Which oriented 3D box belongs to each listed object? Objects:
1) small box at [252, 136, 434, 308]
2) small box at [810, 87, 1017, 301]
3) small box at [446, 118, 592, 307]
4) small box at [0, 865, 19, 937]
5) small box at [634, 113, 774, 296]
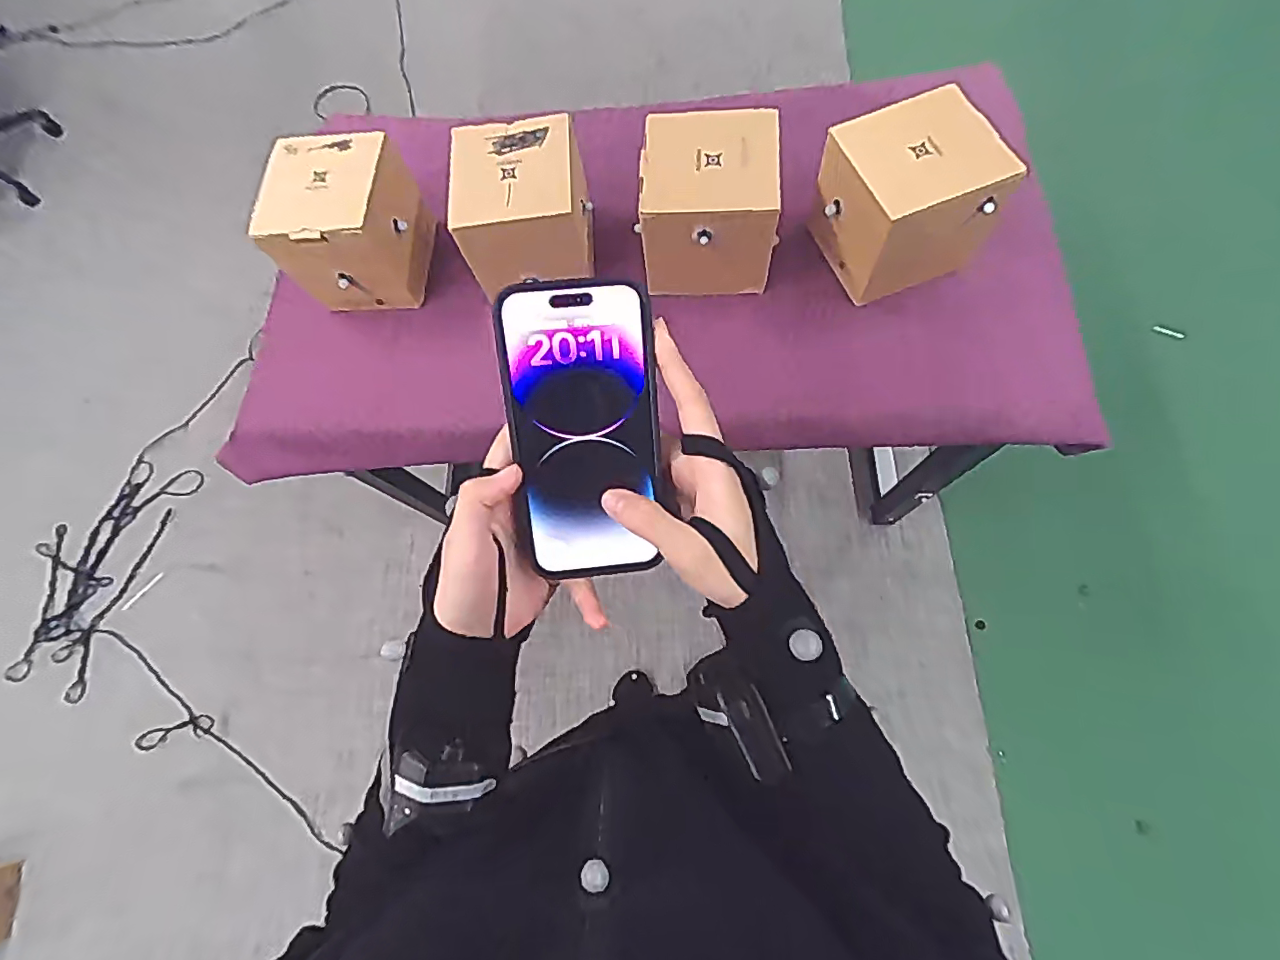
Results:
[{"bbox_3d":[-0.433,-0.378,0.820,0.168,0.176,0.179,0,72,6],"label":"small box"},{"bbox_3d":[0.349,-0.377,0.739,0.179,0.176,0.168,-21,70,-2],"label":"small box"},{"bbox_3d":[-0.166,-0.384,0.795,0.168,0.176,0.179,-5,72,5],"label":"small box"},{"bbox_3d":[-1.609,1.013,1.239,0.179,0.176,0.168,-10,71,3],"label":"small box"},{"bbox_3d":[0.092,-0.380,0.768,0.179,0.176,0.168,2,72,6],"label":"small box"}]
